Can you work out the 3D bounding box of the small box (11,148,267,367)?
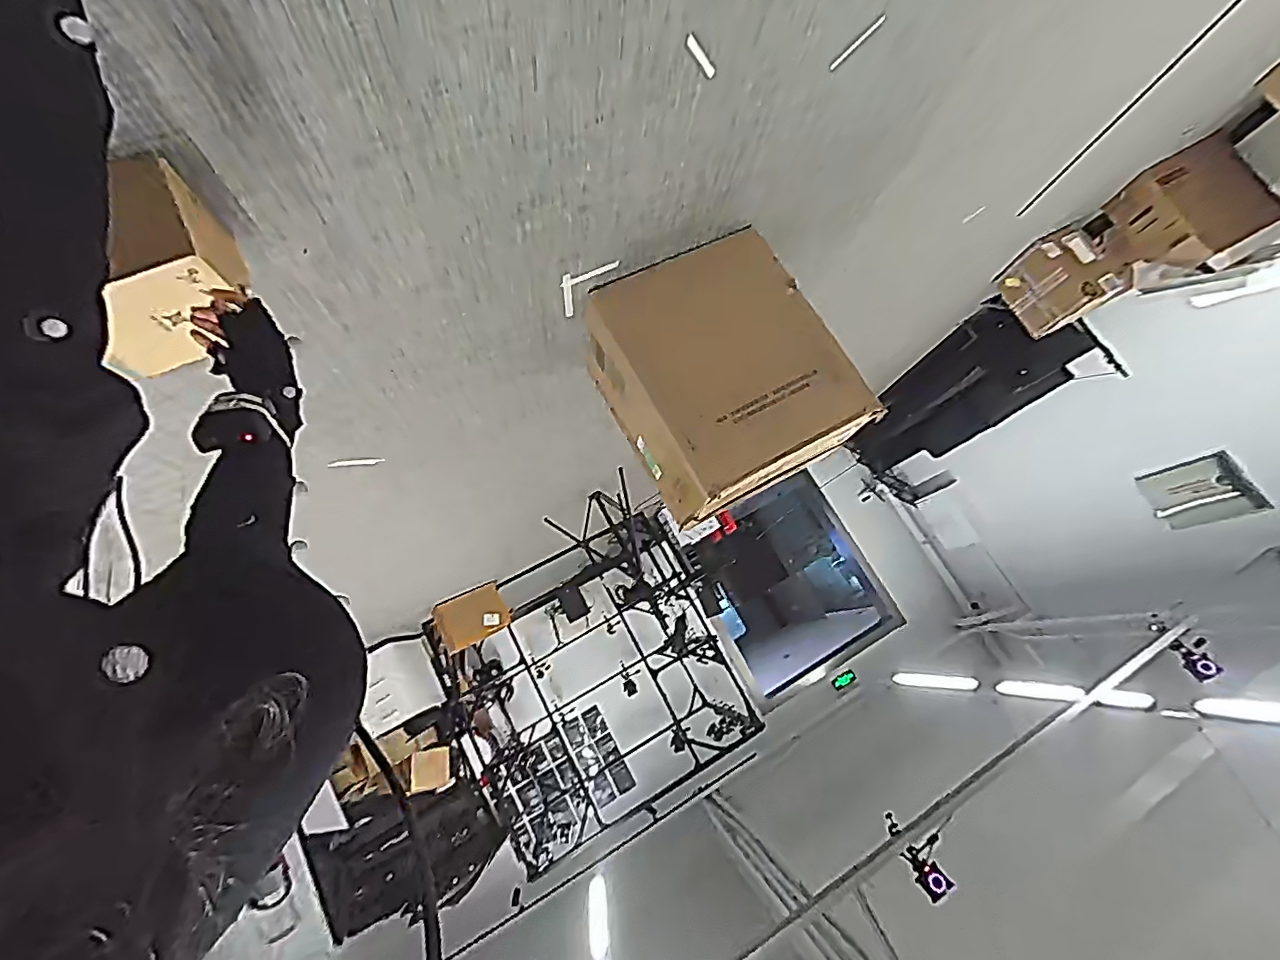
[{"bbox_3d":[-0.635,-0.281,0.696,0.179,0.176,0.168,-25,168,-13],"label":"small box"}]
